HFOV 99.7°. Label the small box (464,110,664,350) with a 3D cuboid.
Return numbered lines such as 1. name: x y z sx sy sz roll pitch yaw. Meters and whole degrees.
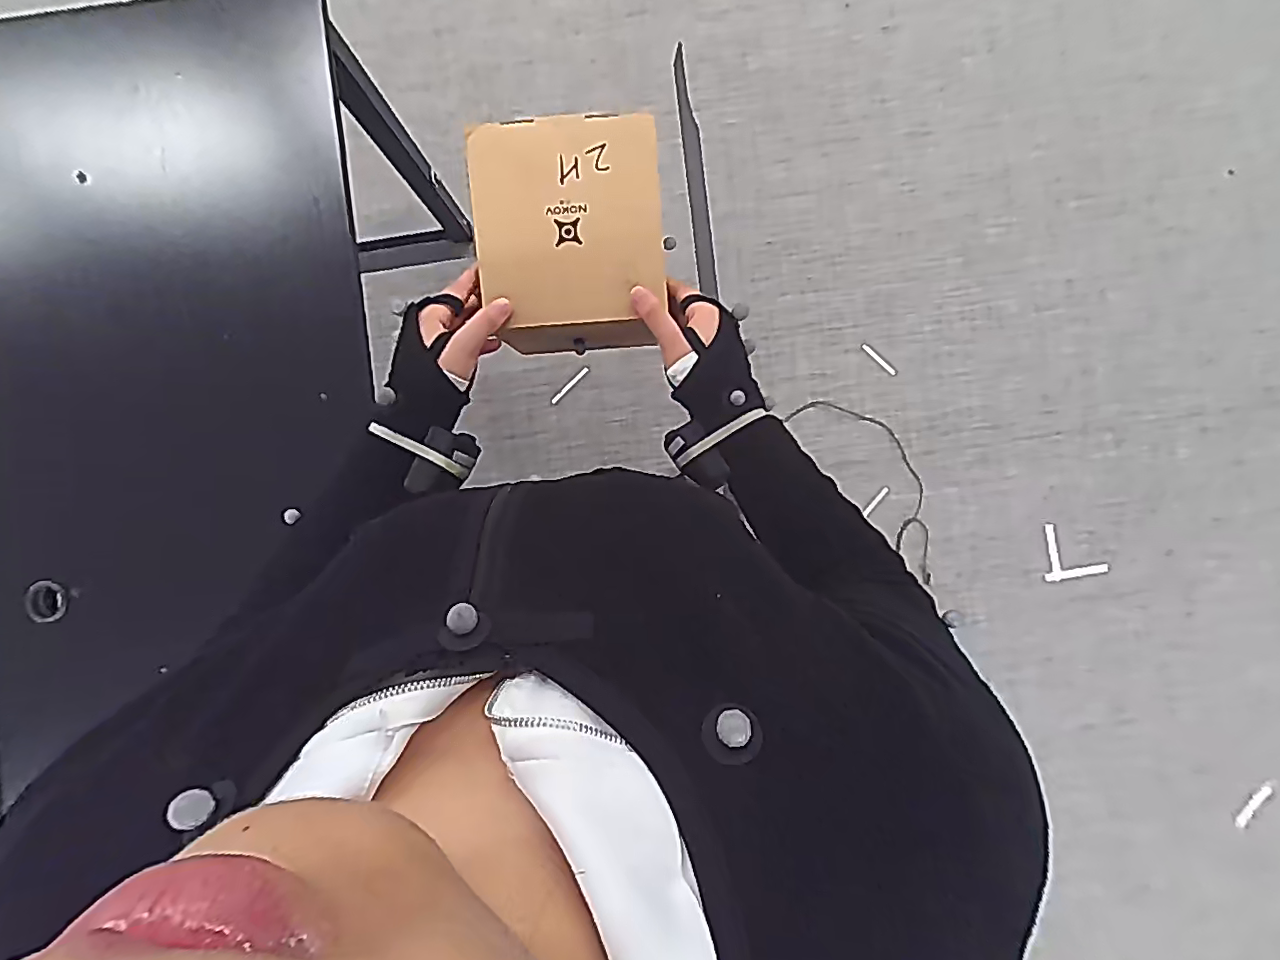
1. small box: -0.064 -0.232 0.550 0.168 0.176 0.179 -5 95 0
